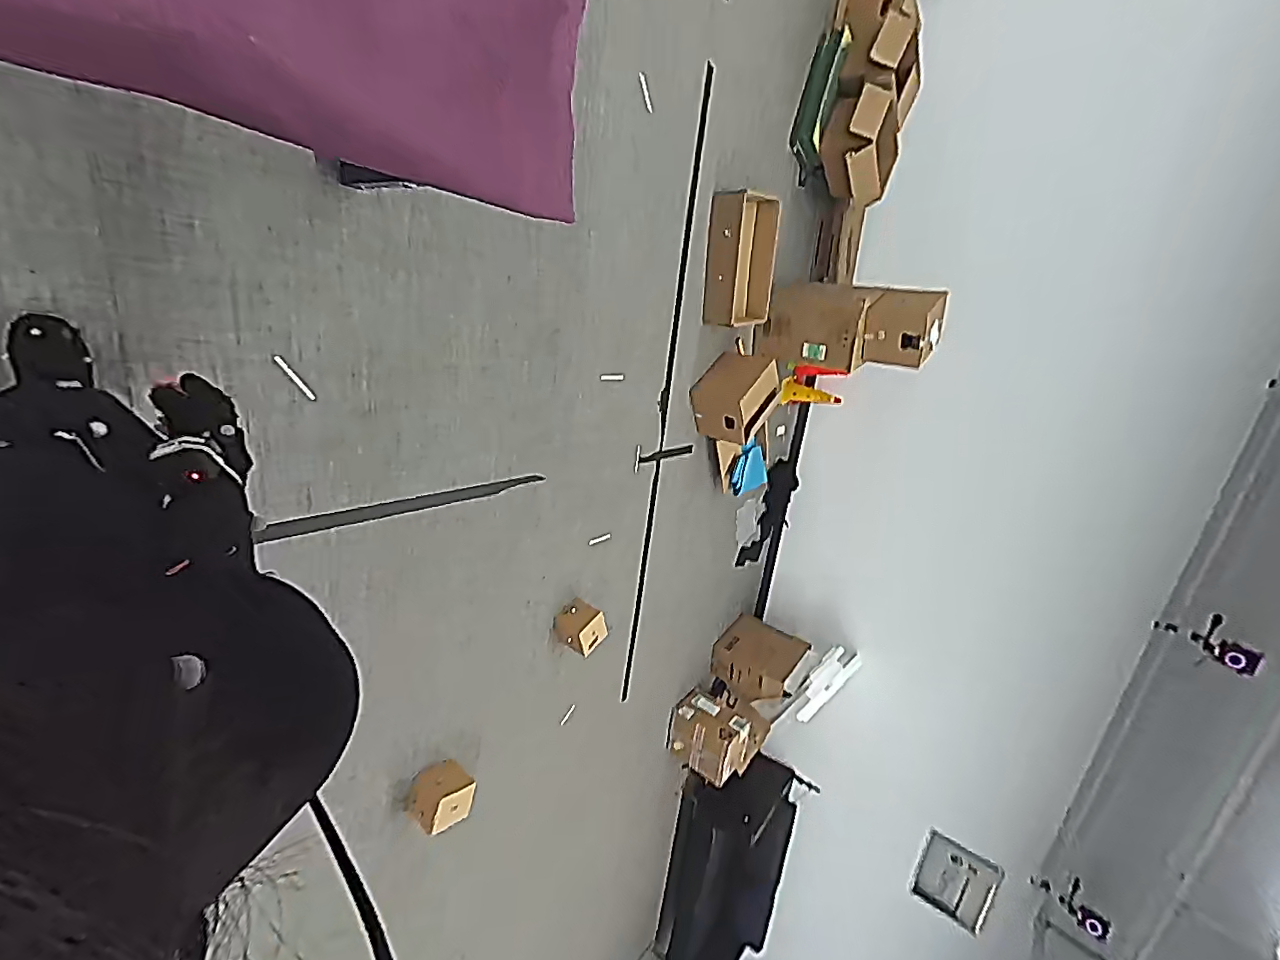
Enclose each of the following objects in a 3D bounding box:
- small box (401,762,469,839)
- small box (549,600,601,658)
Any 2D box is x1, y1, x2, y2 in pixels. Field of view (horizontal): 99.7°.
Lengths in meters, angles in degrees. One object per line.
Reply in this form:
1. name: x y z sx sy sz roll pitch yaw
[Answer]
1. small box: -0.819 1.266 2.152 0.179 0.176 0.168 5 104 -57
2. small box: -0.311 0.709 2.592 0.168 0.176 0.179 -41 136 -38
